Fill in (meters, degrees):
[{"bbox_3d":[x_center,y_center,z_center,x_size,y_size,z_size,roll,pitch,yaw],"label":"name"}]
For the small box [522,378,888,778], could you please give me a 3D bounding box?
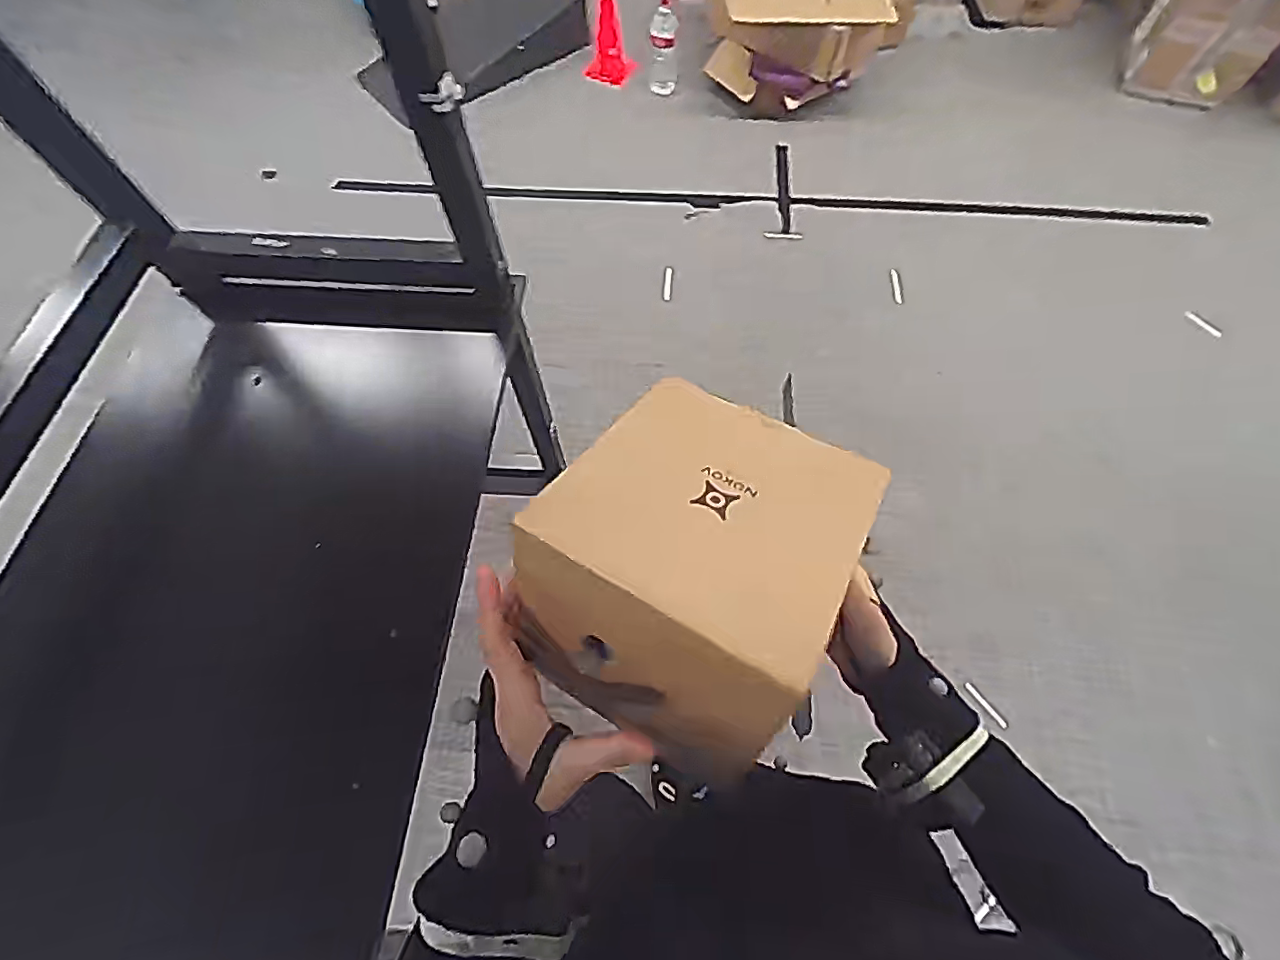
[{"bbox_3d":[0.042,0.064,0.372,0.168,0.176,0.179,25,46,16],"label":"small box"}]
